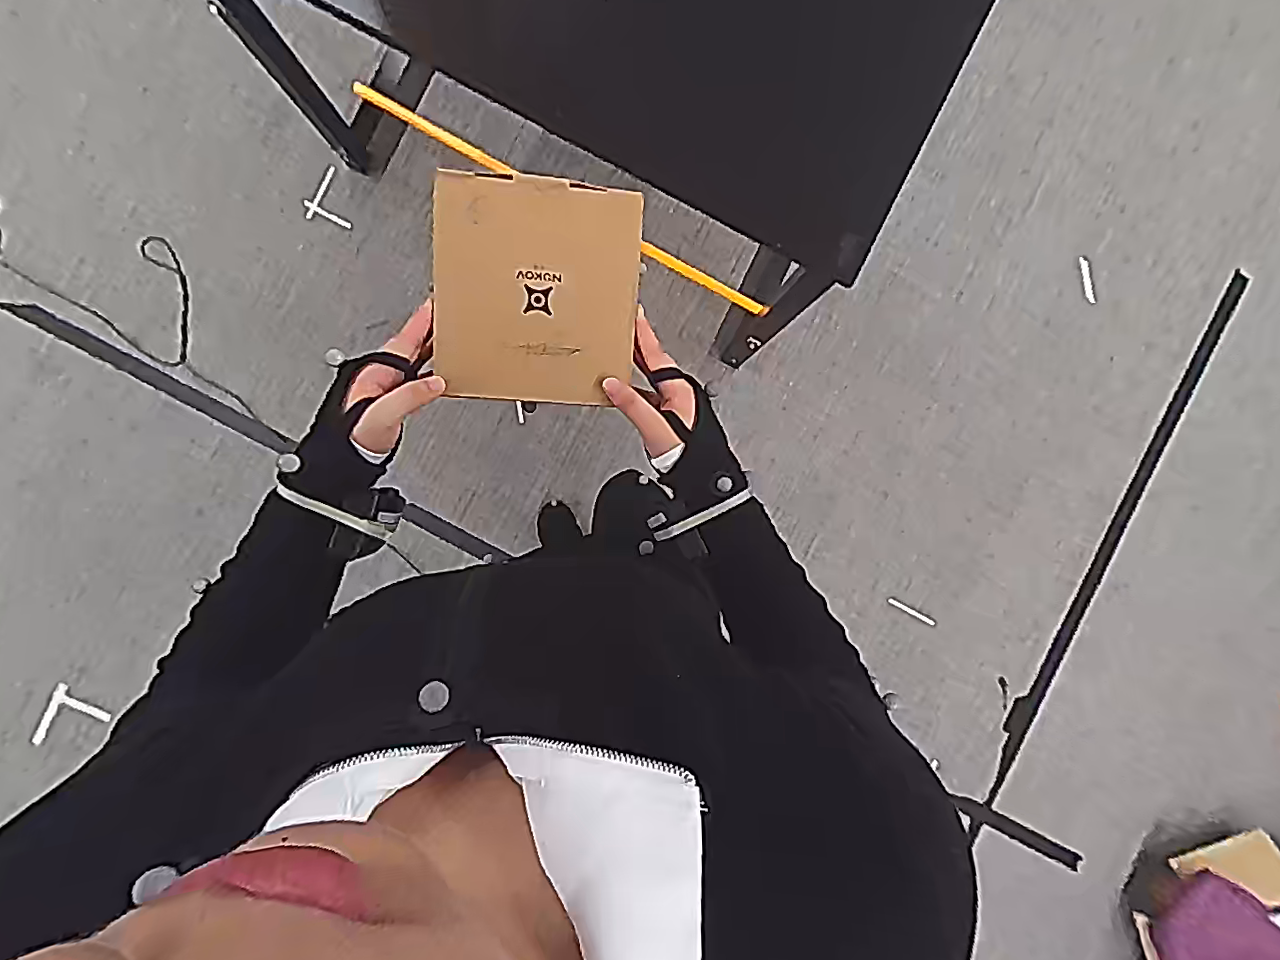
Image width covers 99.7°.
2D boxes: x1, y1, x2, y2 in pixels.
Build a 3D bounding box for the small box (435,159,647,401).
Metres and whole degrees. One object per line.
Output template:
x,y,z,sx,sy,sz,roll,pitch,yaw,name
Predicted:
-0.093,-0.173,0.520,0.168,0.176,0.179,3,101,-8,small box
